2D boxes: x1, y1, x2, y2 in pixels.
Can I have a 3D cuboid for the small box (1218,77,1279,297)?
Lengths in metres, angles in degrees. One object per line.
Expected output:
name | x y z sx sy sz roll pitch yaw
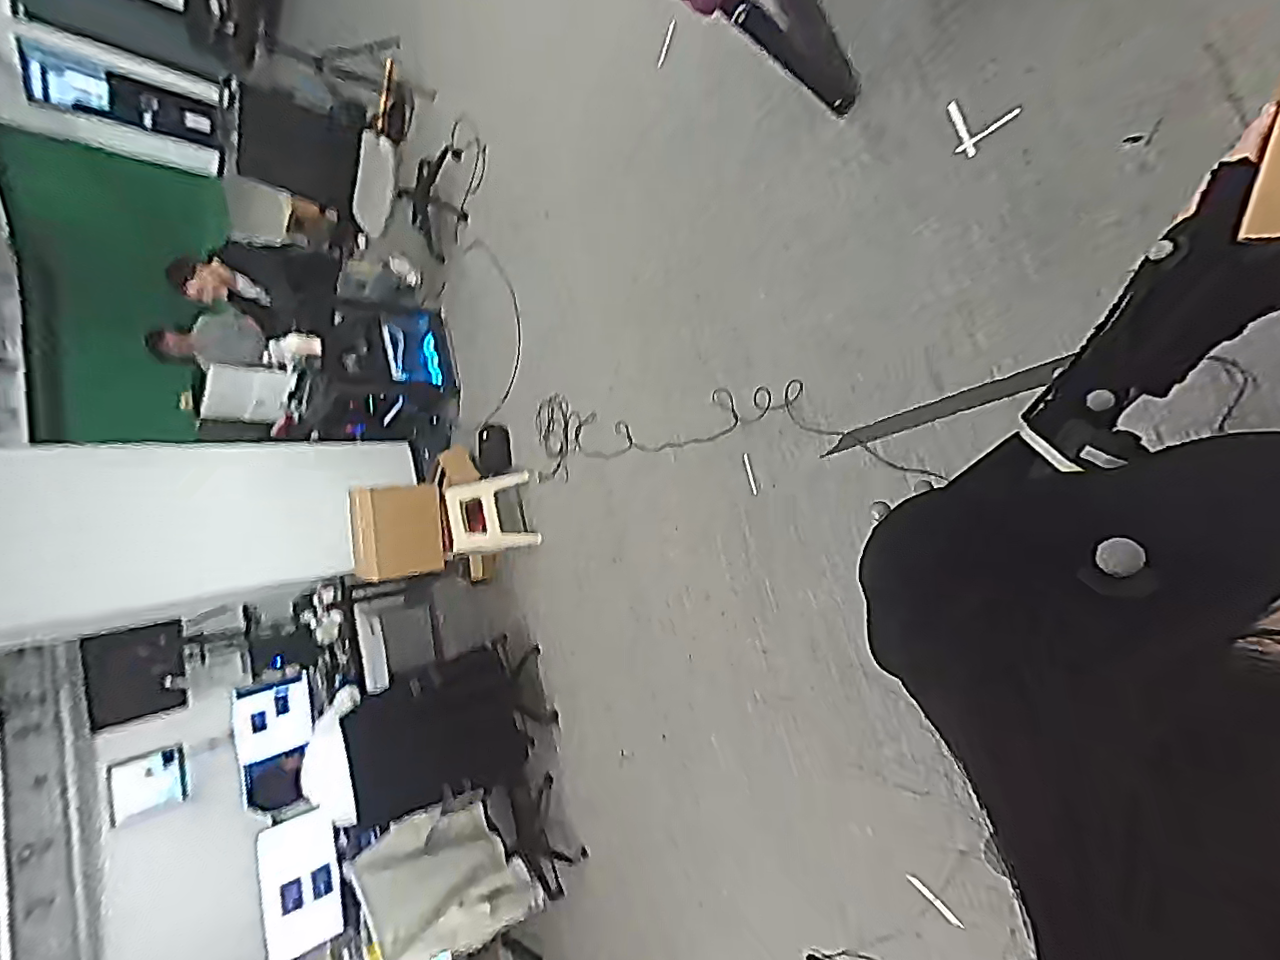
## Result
small box | 0.489 -0.211 0.313 0.179 0.176 0.168 16 98 42
